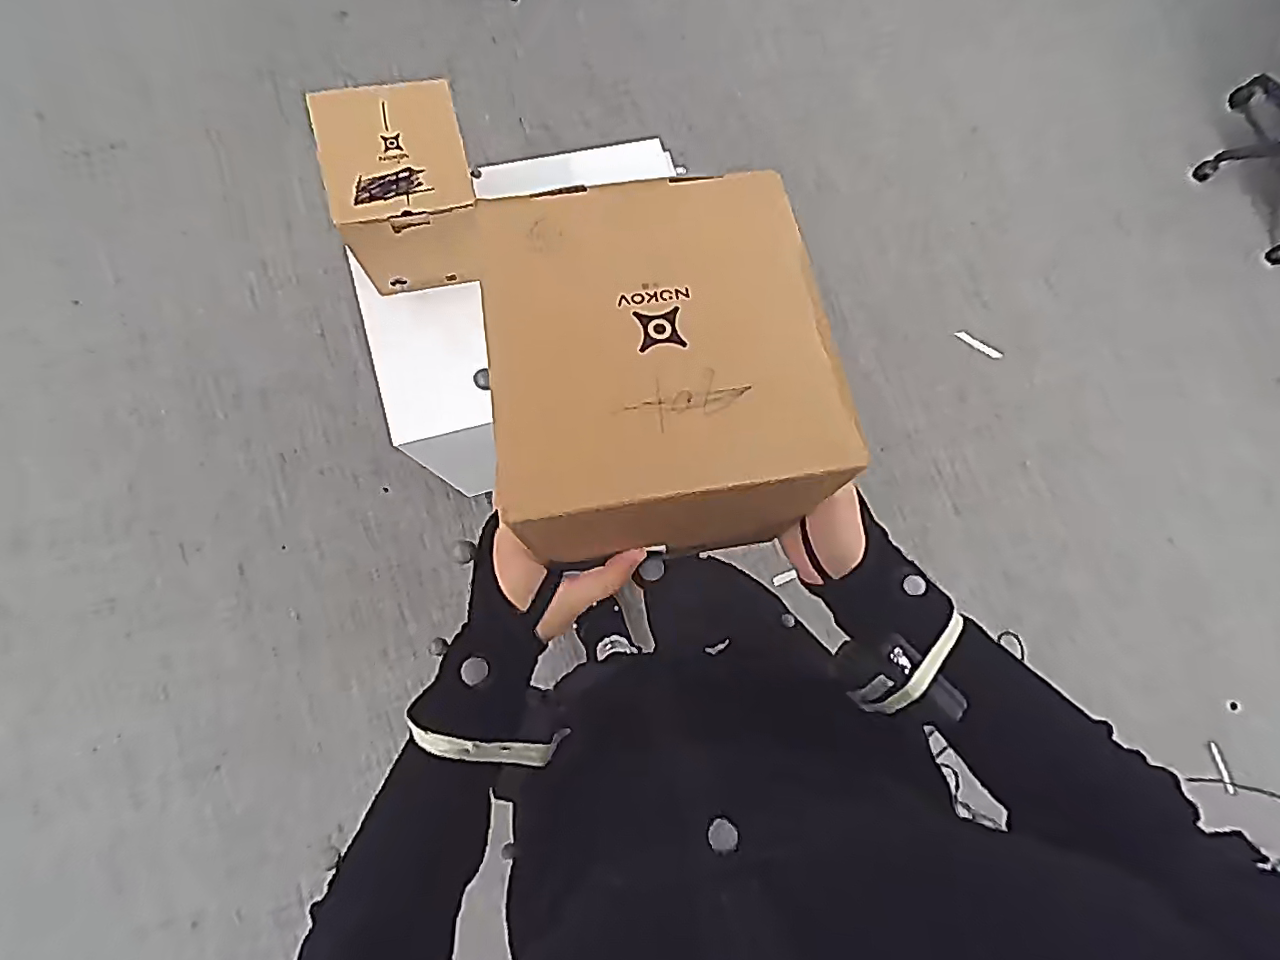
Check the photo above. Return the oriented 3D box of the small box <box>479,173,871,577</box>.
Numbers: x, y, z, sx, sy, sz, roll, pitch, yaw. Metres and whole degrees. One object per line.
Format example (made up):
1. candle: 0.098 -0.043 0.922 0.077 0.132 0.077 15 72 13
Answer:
1. small box: 0.007 -0.049 0.336 0.168 0.176 0.179 -9 73 -5

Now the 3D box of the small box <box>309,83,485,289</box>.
1. small box: -0.302 -0.373 0.717 0.168 0.176 0.179 -14 83 -10
